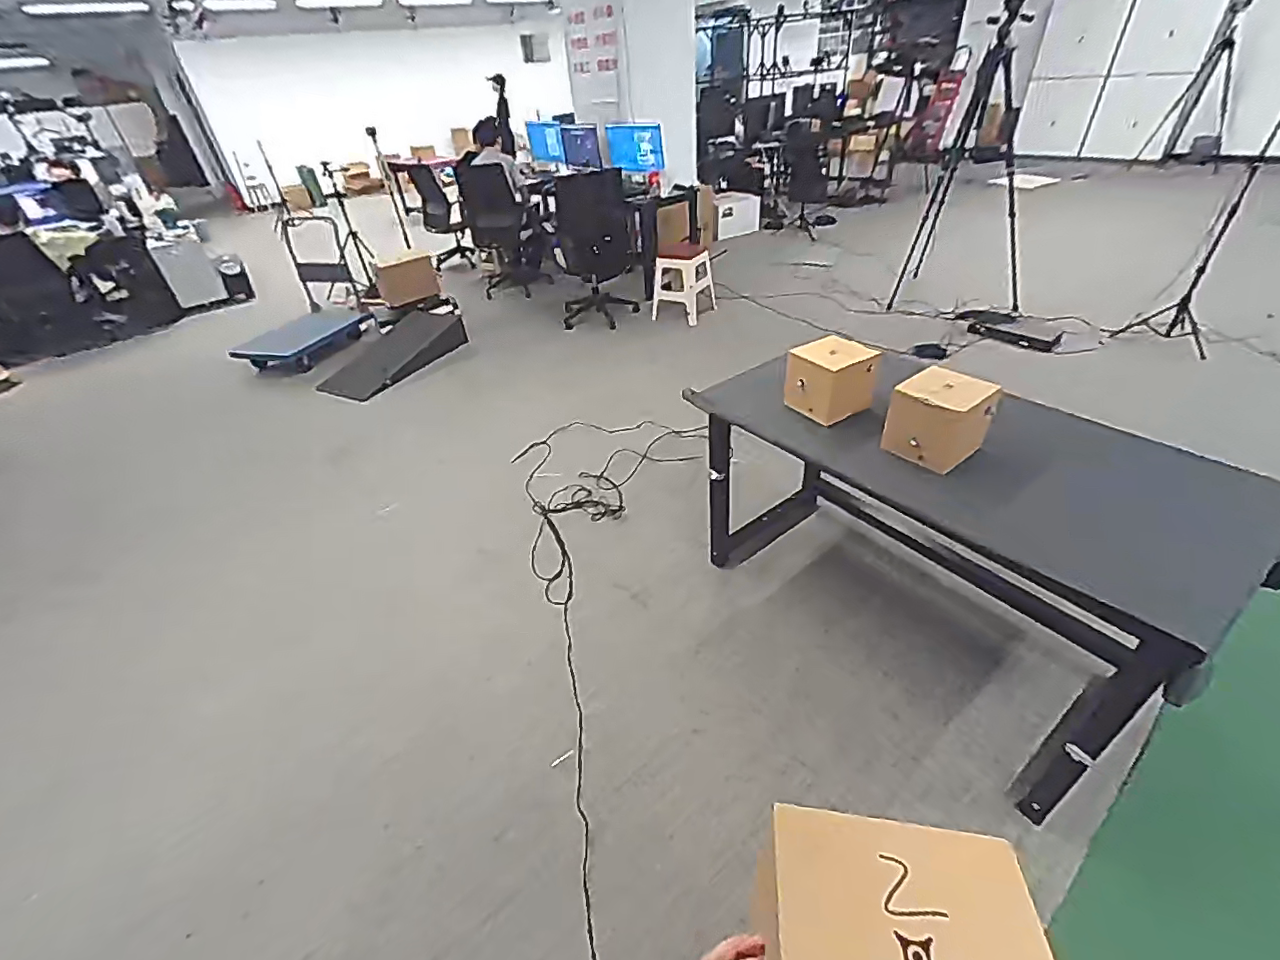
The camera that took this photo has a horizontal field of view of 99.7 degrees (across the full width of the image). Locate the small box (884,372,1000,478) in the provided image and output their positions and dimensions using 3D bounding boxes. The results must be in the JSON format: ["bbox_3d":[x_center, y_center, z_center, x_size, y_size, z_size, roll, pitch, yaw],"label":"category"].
[{"bbox_3d":[0.712,-0.133,1.293,0.179,0.176,0.168,-27,41,-27],"label":"small box"}]

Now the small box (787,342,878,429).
[{"bbox_3d":[0.522,-0.260,1.491,0.179,0.176,0.168,-22,40,-24],"label":"small box"}]
